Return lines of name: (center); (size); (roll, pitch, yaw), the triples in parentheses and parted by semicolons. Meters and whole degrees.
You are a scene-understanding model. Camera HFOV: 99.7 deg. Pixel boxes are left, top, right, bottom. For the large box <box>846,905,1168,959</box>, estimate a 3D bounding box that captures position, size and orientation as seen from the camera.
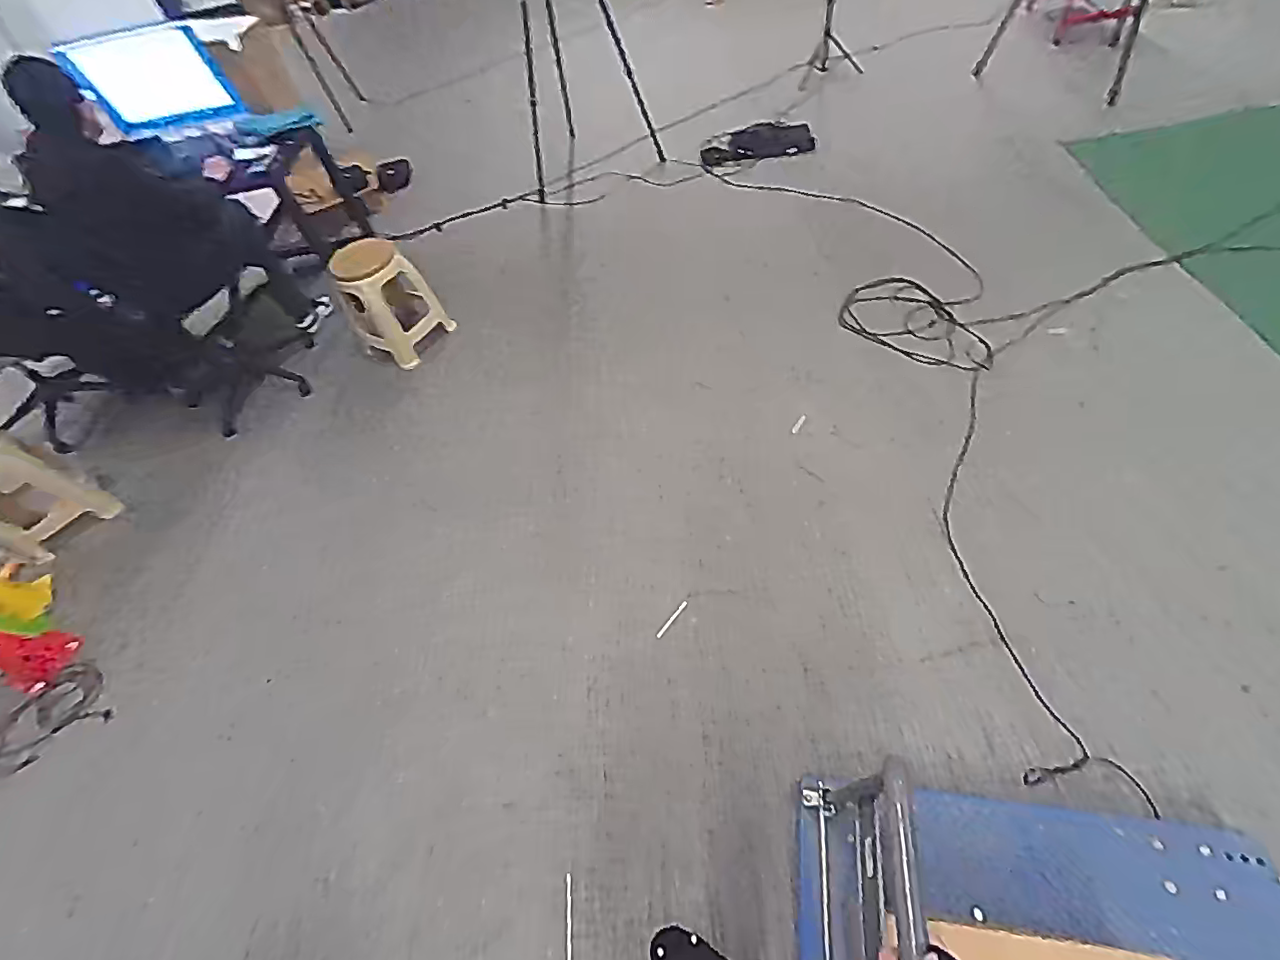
large box: (0.574, 0.895, 0.855); (0.408, 0.320, 0.320); (1, 56, 10)
